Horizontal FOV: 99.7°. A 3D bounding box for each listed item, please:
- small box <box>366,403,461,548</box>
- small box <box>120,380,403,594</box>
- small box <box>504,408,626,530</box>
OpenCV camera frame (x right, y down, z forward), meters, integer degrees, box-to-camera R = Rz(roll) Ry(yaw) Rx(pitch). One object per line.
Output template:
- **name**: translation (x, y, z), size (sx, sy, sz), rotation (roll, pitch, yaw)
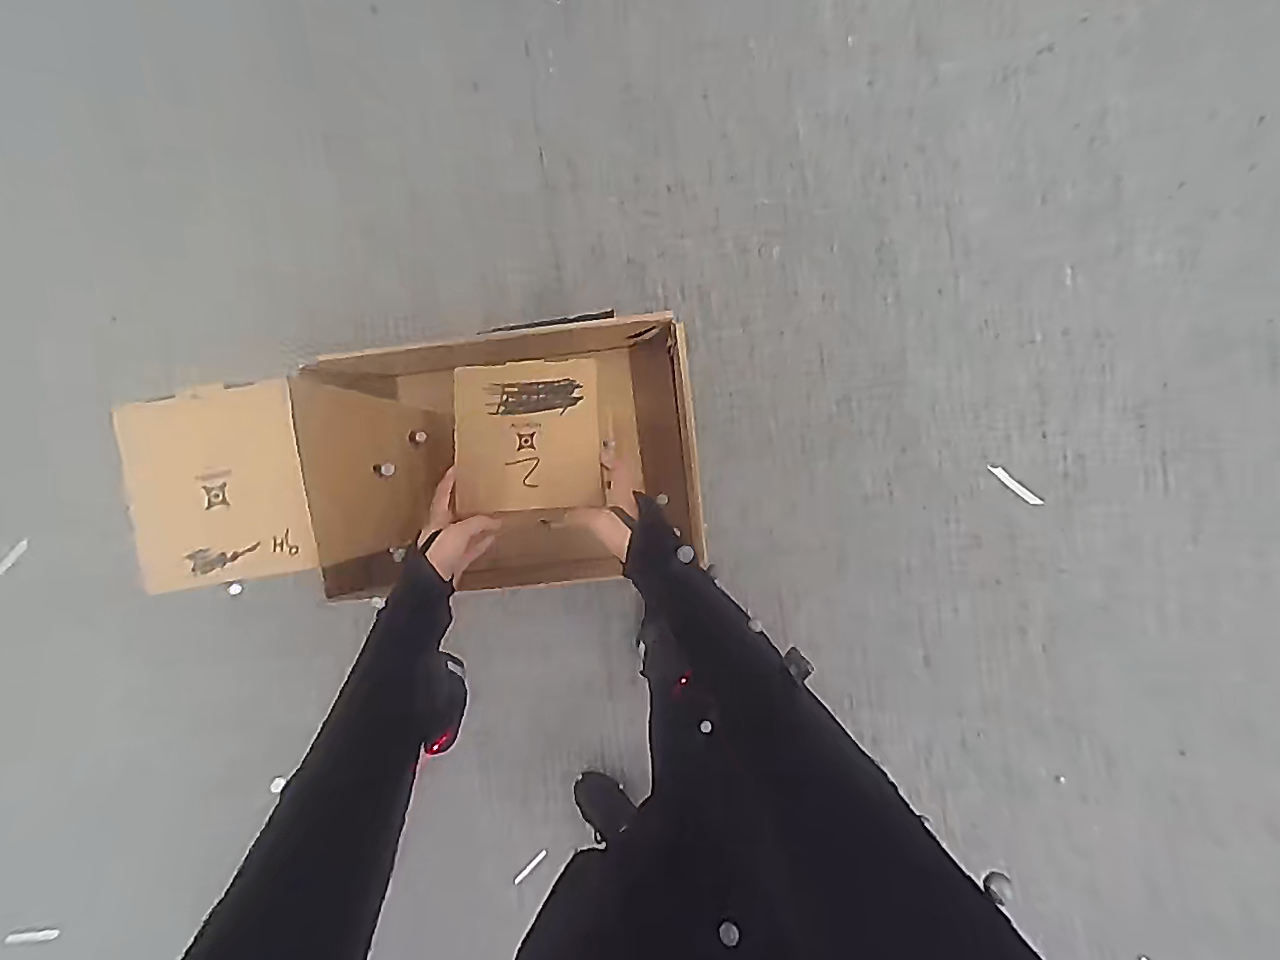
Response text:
- **small box**: translation (-0.359, 0.004, 0.728), size (0.168, 0.176, 0.179), rotation (-9, 91, 3)
- **small box**: translation (-0.373, 0.007, 0.563), size (0.168, 0.176, 0.179), rotation (-9, 90, 3)
- **small box**: translation (-0.115, -0.017, 0.882), size (0.168, 0.176, 0.179), rotation (-4, 92, 3)
